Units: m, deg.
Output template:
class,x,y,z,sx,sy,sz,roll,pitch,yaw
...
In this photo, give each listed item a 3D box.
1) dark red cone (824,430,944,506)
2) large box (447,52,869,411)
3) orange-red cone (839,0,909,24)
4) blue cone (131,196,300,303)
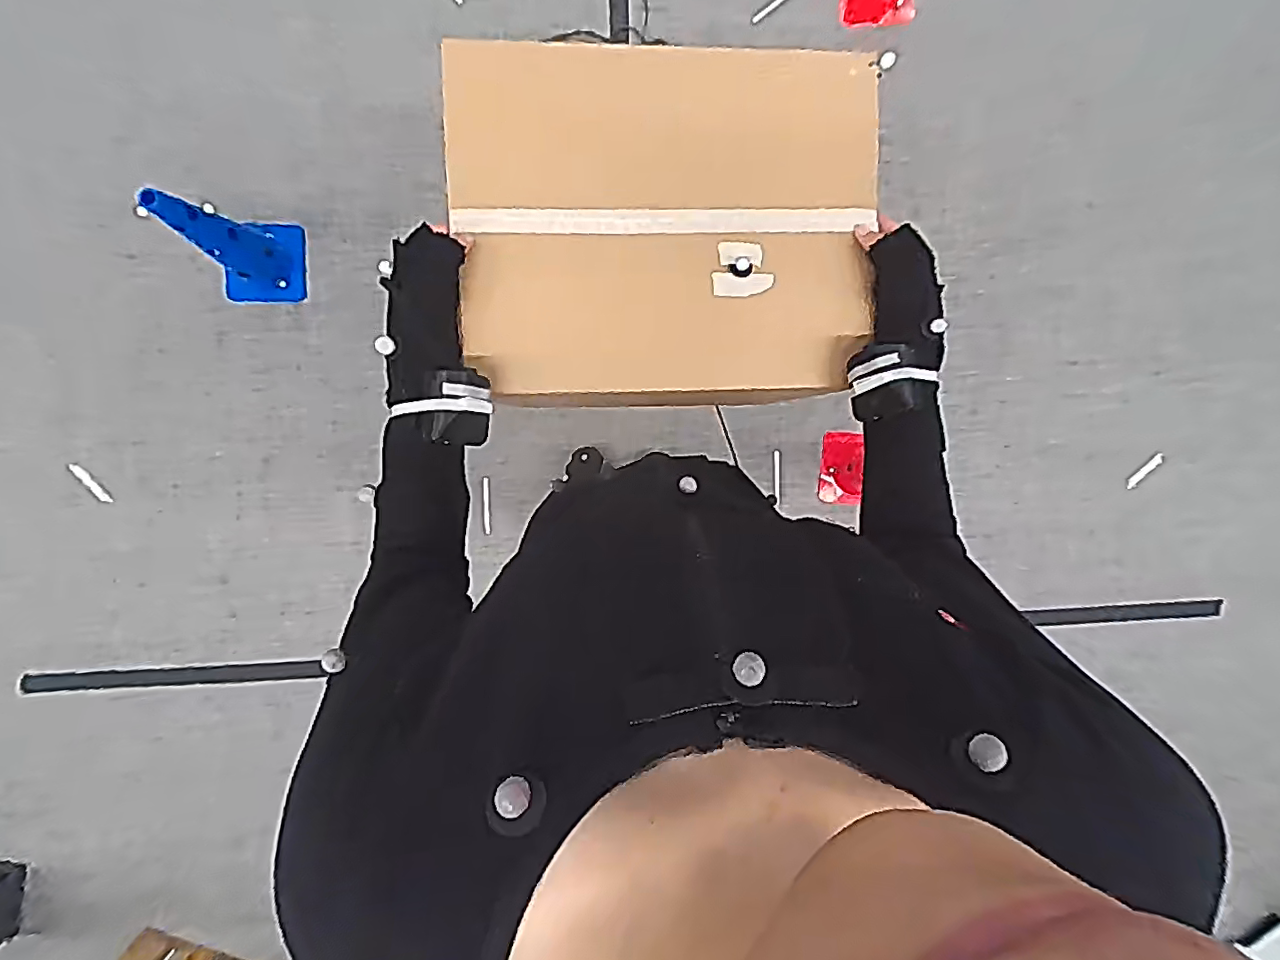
class,x,y,z,sx,sy,sz,roll,pitch,yaw
dark red cone,0.612,-0.024,1.318,0.201,0.394,0.202,4,92,-2
large box,0.013,-0.255,0.665,0.408,0.320,0.320,-2,95,-5
orange-red cone,0.640,-1.323,1.281,0.198,0.360,0.199,-5,92,-4
blue cone,-0.973,-0.548,1.240,0.192,0.380,0.193,1,92,-2
